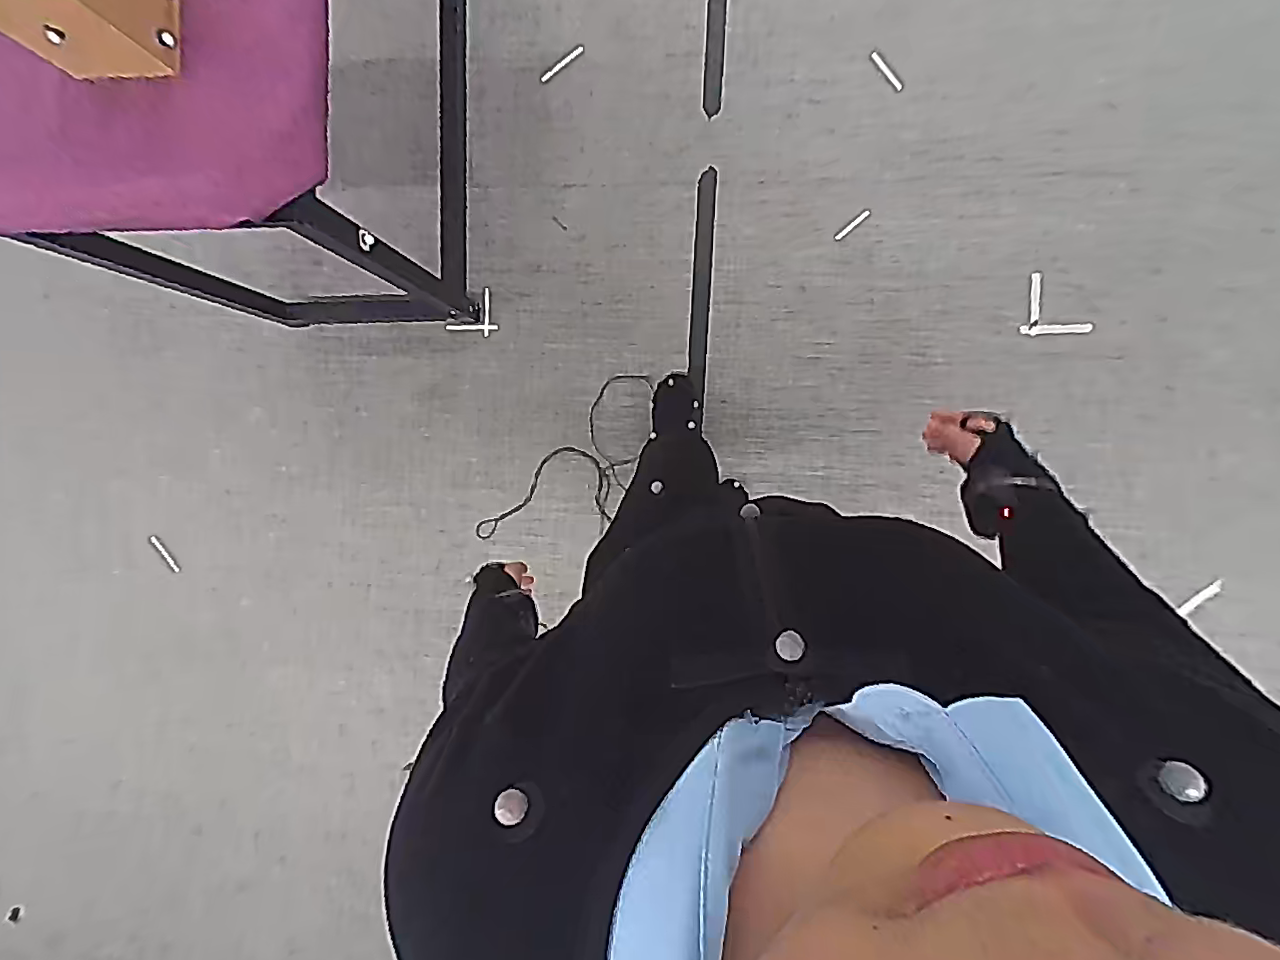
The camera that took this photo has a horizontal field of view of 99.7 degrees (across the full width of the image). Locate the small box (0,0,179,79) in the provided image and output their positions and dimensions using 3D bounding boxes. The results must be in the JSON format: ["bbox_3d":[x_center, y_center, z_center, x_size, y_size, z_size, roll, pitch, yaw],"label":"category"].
[{"bbox_3d":[-0.780,-0.690,0.741,0.179,0.176,0.168,2,92,6],"label":"small box"}]
